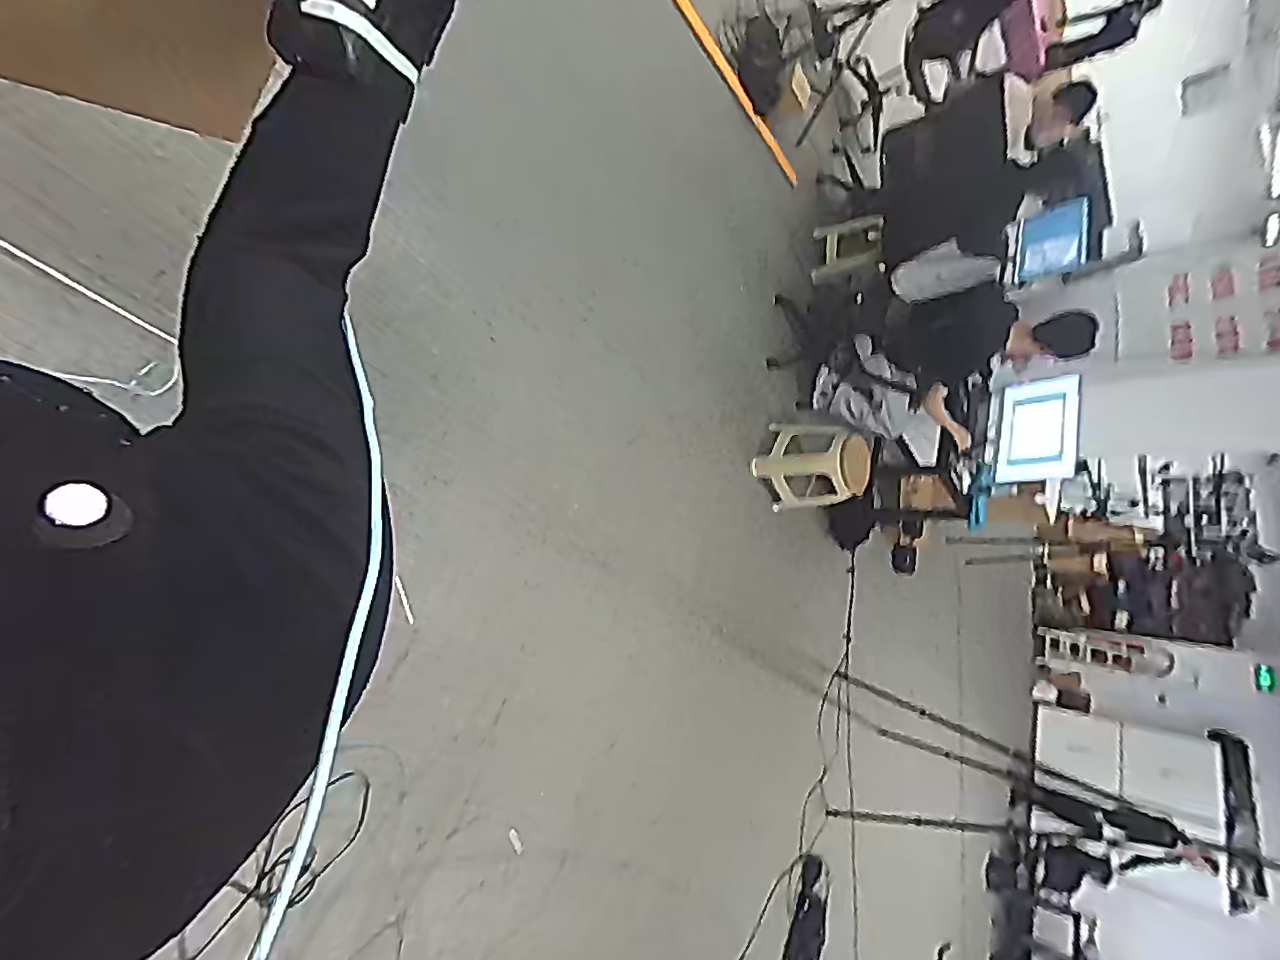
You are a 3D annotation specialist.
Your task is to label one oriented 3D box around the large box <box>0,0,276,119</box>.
[{"bbox_3d":[-0.447,-0.472,0.271,0.408,0.320,0.320,-11,97,-47],"label":"large box"}]
